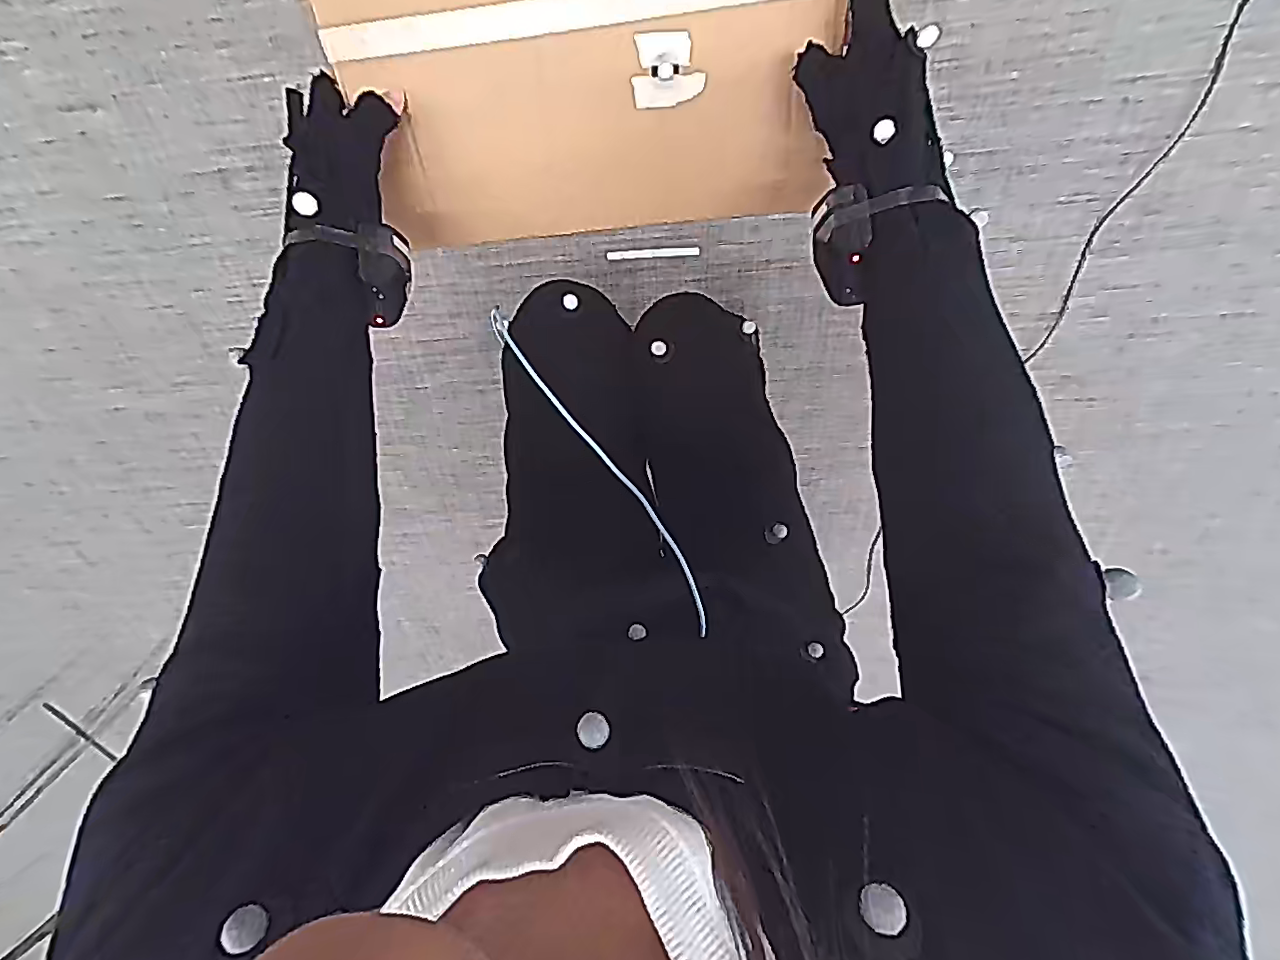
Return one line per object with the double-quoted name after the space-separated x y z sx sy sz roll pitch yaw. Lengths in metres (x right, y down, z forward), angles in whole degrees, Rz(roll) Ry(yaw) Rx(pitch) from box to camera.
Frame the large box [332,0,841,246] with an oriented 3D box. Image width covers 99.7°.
-0.040 -0.455 0.546 0.408 0.320 0.320 -4 125 5 "large box"
